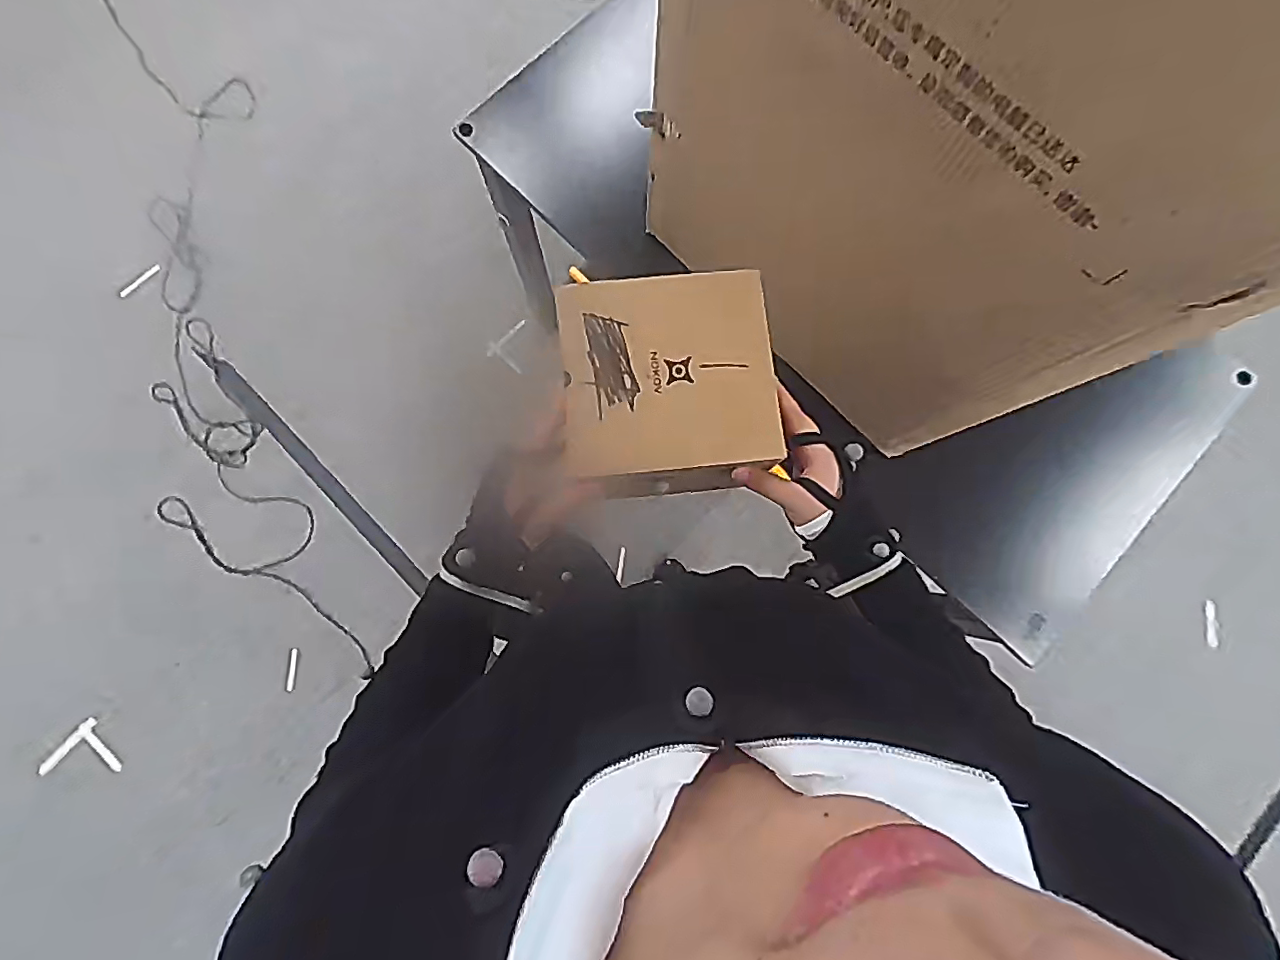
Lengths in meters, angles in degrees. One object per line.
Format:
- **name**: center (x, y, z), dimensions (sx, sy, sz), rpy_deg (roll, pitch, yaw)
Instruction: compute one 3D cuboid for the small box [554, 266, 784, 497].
- **small box**: center (0.022, -0.079, 0.517), dimensions (0.179, 0.176, 0.168), rpy_deg (-5, 82, -1)
